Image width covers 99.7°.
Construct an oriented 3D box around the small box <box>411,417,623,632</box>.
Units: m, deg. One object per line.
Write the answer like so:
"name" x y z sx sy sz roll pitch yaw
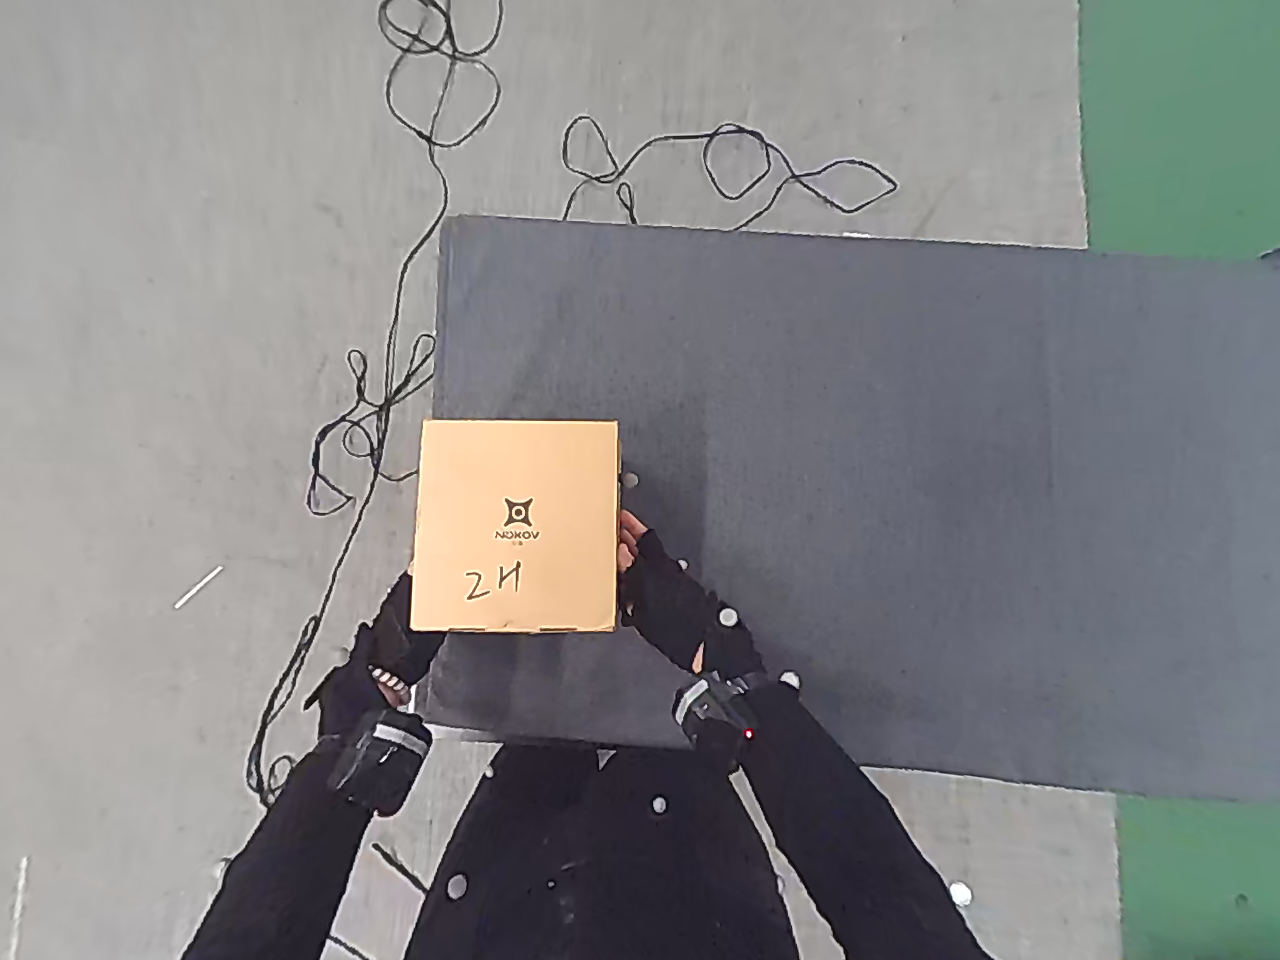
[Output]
"small box" -0.101 0.048 0.522 0.168 0.176 0.179 1 81 -1
